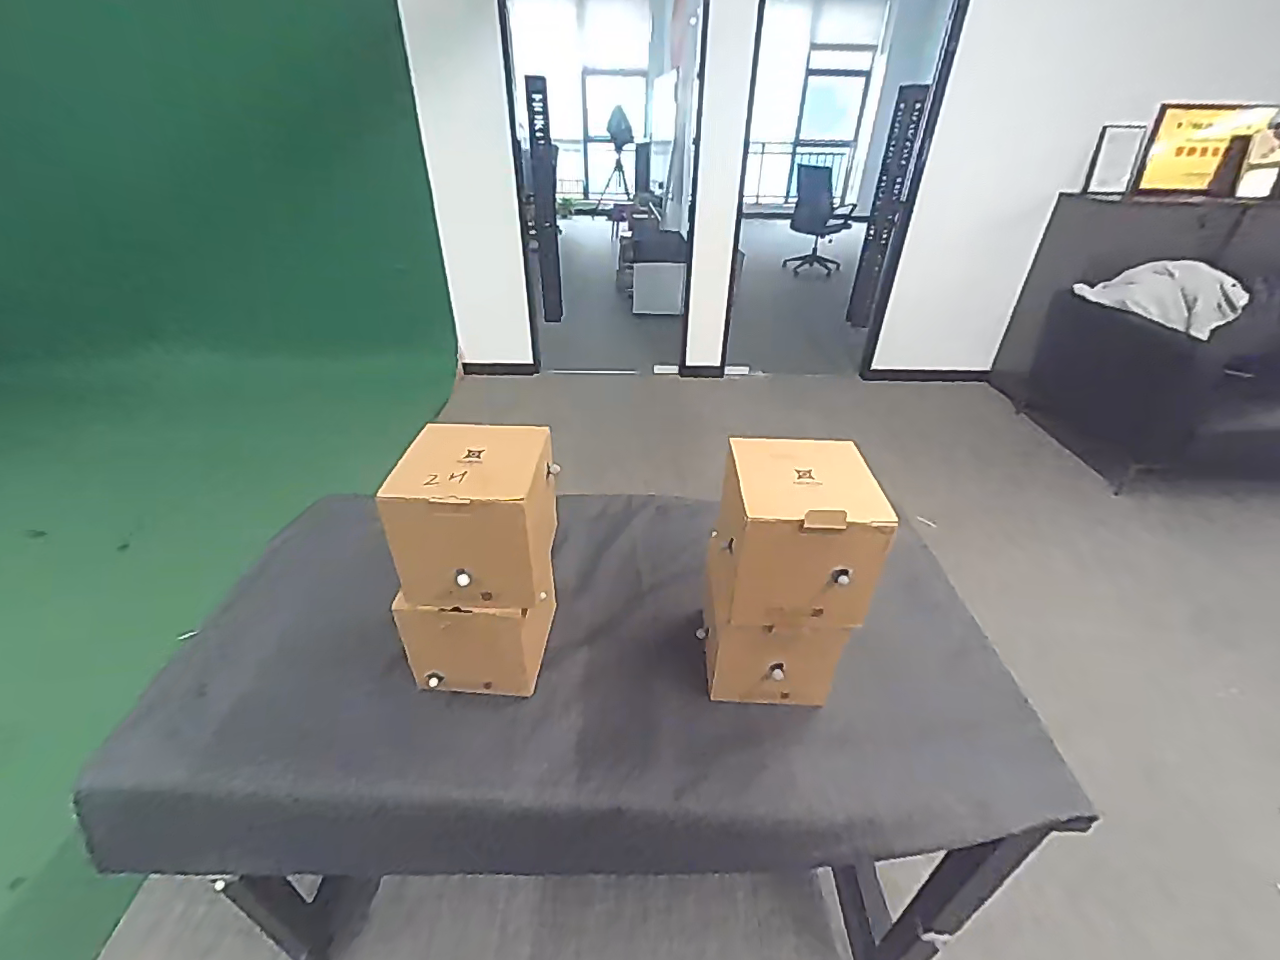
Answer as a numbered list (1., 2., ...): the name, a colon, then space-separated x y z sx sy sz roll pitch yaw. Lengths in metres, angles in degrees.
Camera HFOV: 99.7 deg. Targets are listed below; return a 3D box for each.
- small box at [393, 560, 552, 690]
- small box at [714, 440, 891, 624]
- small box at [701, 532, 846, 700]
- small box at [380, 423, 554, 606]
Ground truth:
1. small box: -0.227 0.182 0.790 0.168 0.176 0.179 4 33 2
2. small box: 0.189 0.064 0.690 0.168 0.176 0.179 2 33 0
3. small box: 0.180 0.196 0.785 0.168 0.176 0.179 2 34 1
4. small box: -0.207 0.040 0.706 0.168 0.176 0.179 1 33 0
